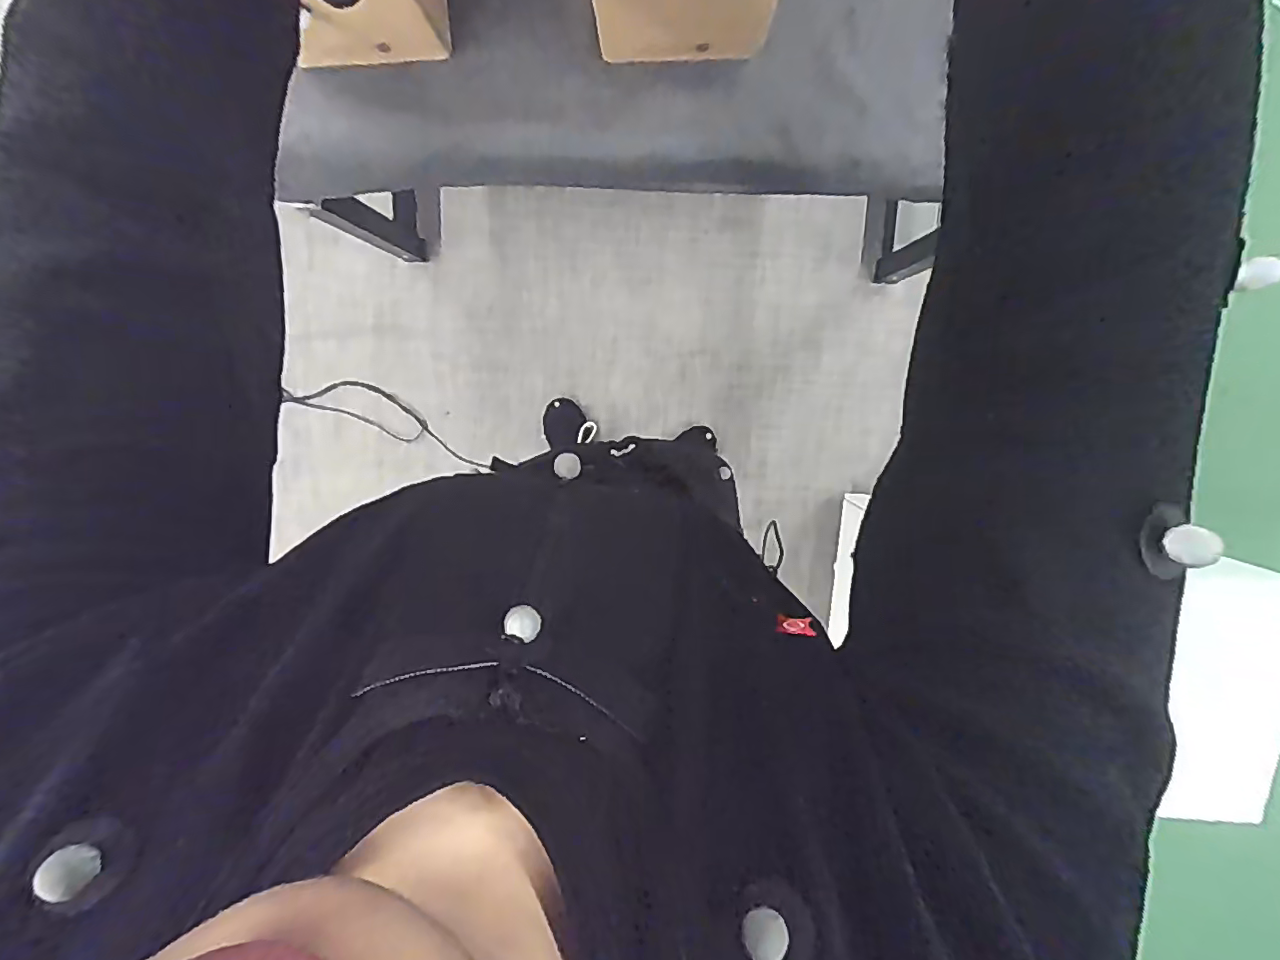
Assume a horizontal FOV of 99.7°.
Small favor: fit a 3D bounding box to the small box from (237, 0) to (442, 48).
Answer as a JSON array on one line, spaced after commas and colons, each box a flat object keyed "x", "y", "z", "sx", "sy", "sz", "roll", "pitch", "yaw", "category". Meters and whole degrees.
[{"x": -0.286, "y": -0.512, "z": 0.468, "sx": 0.168, "sy": 0.176, "sz": 0.179, "roll": -2, "pitch": 100, "yaw": 1, "category": "small box"}]

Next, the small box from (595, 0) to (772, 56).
[{"x": 0.038, "y": -0.514, "z": 0.466, "sx": 0.168, "sy": 0.176, "sz": 0.179, "roll": 0, "pitch": 100, "yaw": 1, "category": "small box"}]
